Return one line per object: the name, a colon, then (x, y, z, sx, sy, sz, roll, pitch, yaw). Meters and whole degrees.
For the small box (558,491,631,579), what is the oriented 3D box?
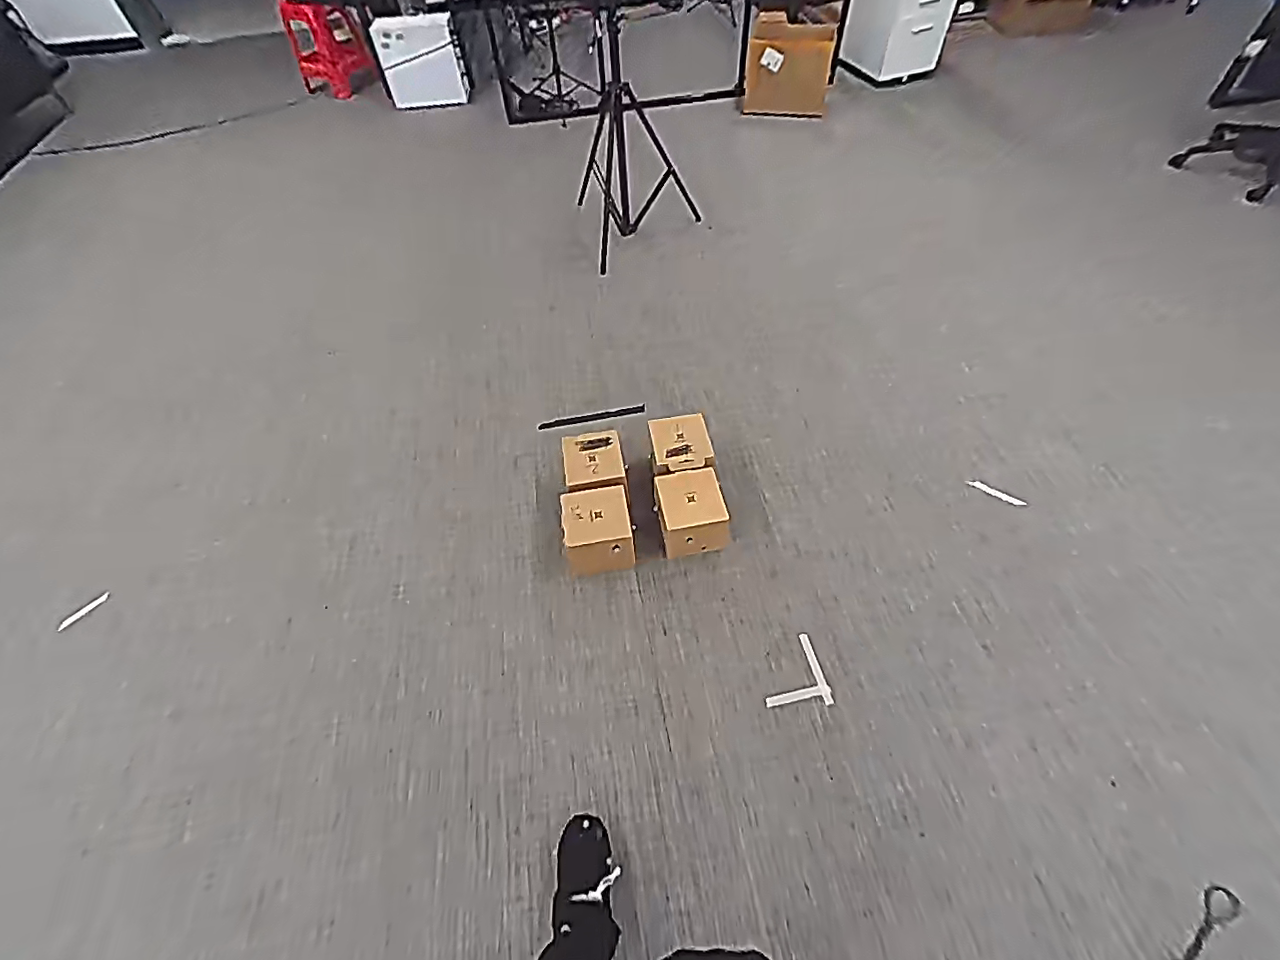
small box: (-0.119, 0.153, 1.468, 0.179, 0.176, 0.168, -9, 54, -3)
